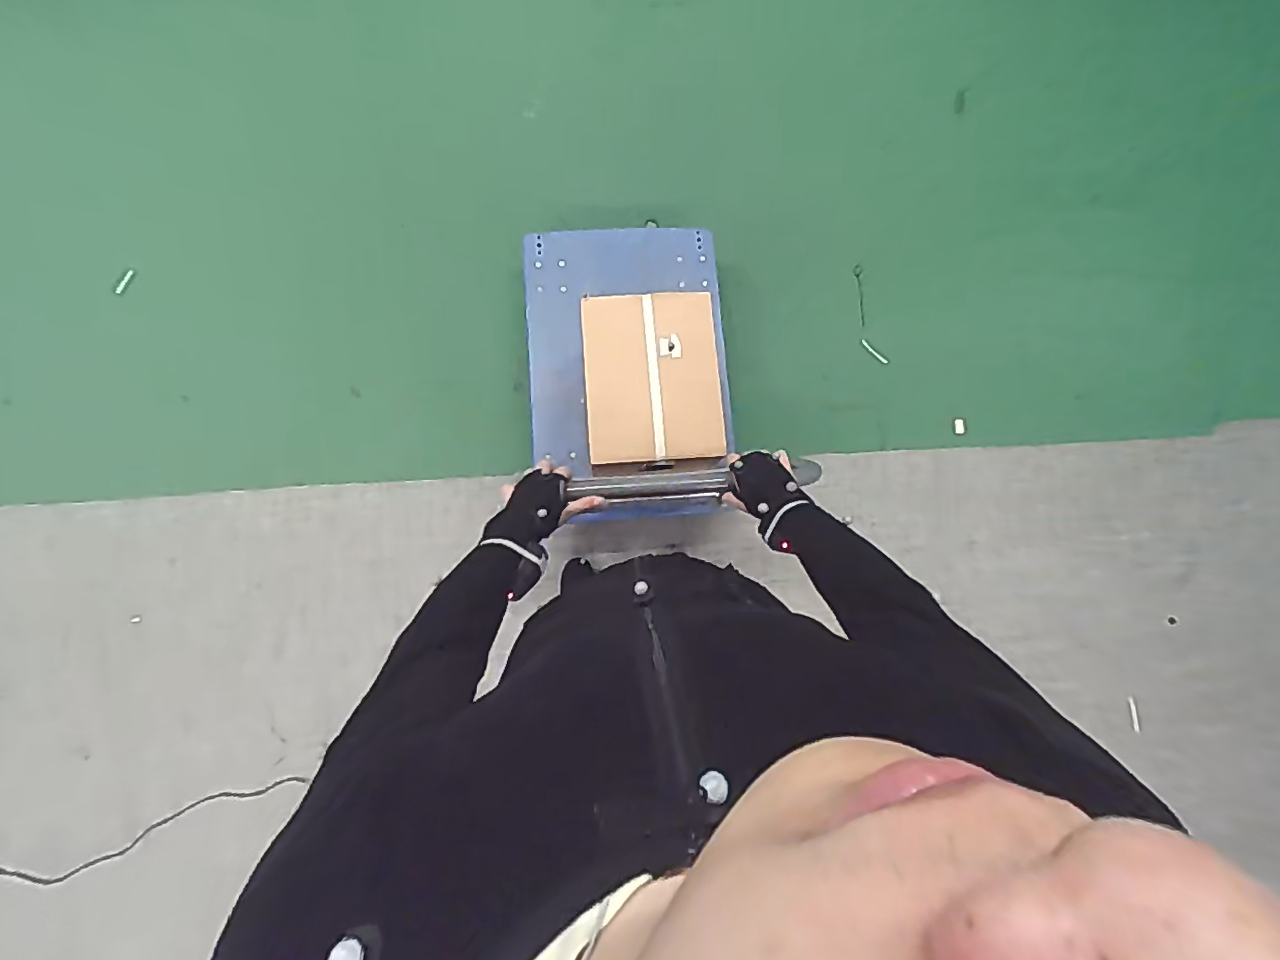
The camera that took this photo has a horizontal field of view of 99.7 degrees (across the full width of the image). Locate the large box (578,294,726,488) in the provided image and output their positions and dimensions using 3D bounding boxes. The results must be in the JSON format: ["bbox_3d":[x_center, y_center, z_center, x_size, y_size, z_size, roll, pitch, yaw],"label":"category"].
[{"bbox_3d":[0.017,-0.212,1.392,0.320,0.320,0.408,-4,80,-5],"label":"large box"}]
